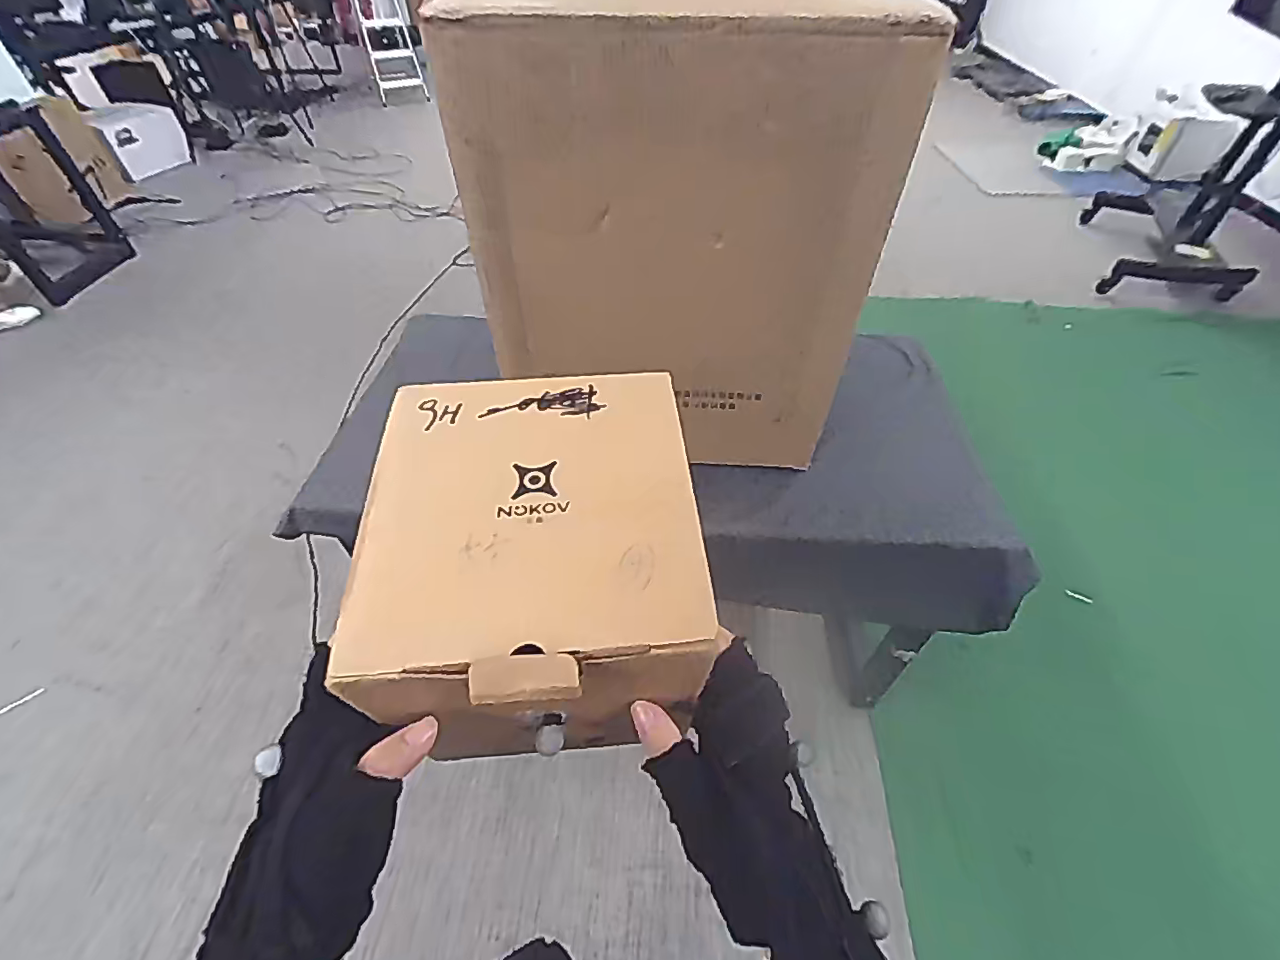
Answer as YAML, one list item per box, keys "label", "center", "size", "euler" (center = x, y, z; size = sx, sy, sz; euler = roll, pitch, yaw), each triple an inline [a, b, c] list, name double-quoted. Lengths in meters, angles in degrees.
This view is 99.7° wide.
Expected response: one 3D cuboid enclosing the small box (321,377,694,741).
- label: "small box"
  center: [-0.061, 0.058, 0.345]
  size: [0.168, 0.176, 0.179]
  euler: [-3, 54, -4]
